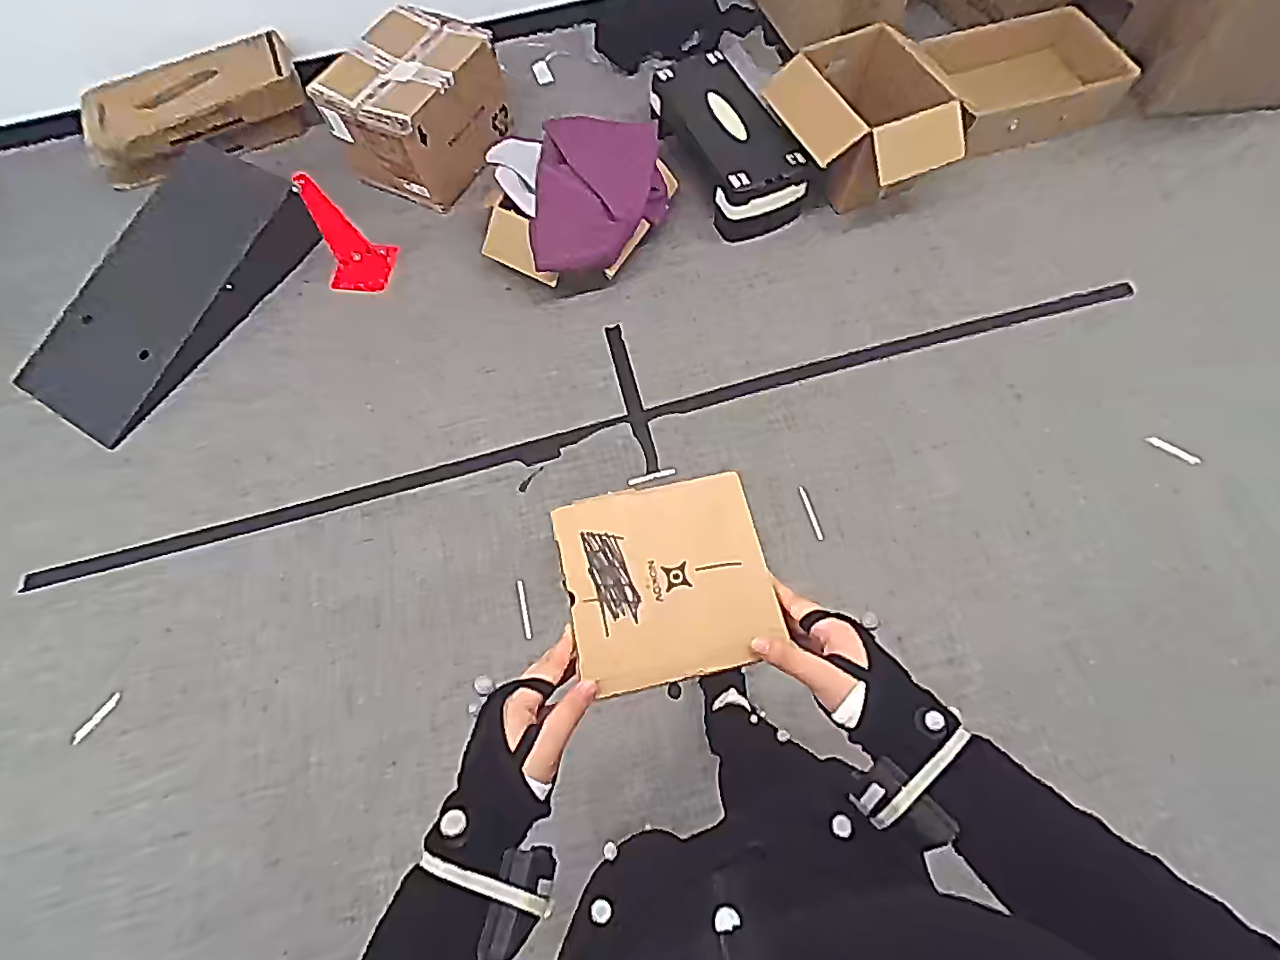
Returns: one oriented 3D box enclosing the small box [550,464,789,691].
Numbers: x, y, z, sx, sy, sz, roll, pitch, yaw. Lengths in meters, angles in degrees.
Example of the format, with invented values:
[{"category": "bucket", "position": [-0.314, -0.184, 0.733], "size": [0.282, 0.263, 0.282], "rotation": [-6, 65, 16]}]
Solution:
[{"category": "small box", "position": [0.022, 0.105, 0.530], "size": [0.179, 0.176, 0.168], "rotation": [-12, 69, -5]}]
